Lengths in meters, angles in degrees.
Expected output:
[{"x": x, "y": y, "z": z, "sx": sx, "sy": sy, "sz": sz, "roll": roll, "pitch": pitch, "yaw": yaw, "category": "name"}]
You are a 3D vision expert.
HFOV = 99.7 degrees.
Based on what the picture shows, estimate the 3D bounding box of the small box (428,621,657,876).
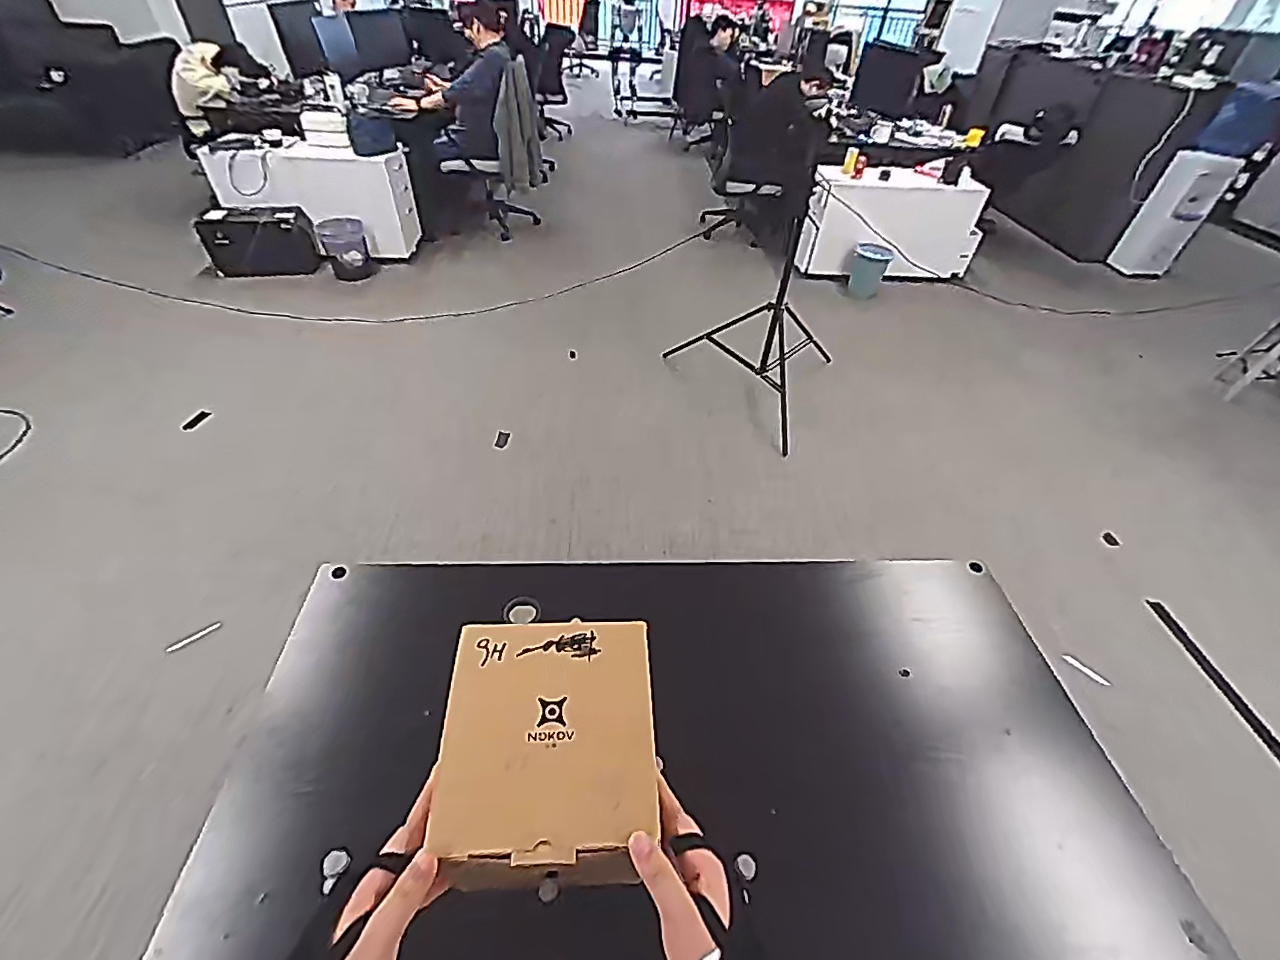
[{"x": -0.075, "y": 0.248, "z": 0.493, "sx": 0.168, "sy": 0.176, "sz": 0.179, "roll": -1, "pitch": 48, "yaw": -5, "category": "small box"}]
